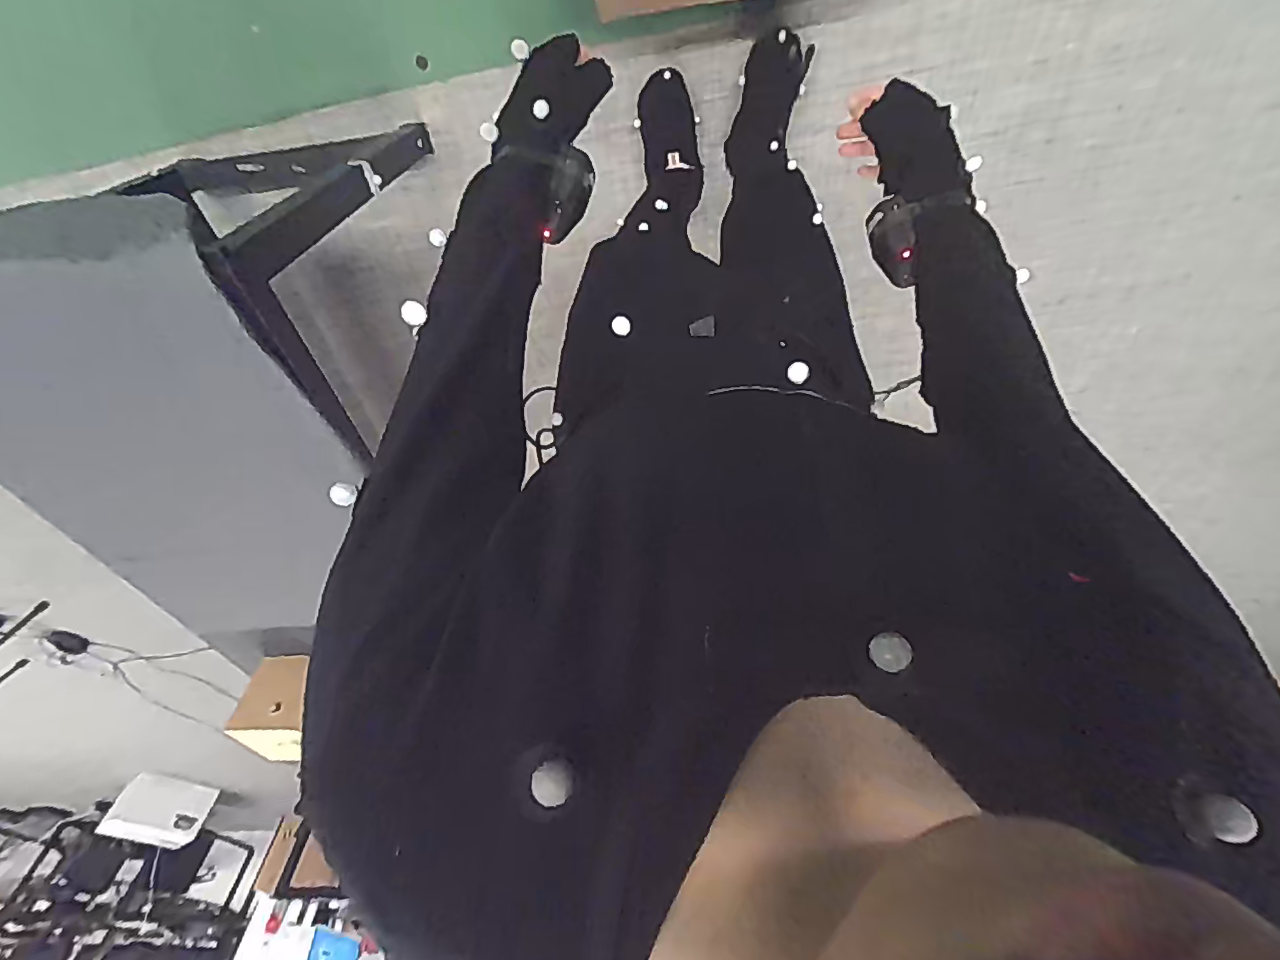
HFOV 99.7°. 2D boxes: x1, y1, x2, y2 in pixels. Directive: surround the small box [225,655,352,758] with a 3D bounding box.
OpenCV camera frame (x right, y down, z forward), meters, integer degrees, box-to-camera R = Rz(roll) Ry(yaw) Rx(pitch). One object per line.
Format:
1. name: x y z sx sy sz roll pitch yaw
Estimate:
1. small box: -0.757 0.505 1.210 0.179 0.176 0.168 -4 133 7
